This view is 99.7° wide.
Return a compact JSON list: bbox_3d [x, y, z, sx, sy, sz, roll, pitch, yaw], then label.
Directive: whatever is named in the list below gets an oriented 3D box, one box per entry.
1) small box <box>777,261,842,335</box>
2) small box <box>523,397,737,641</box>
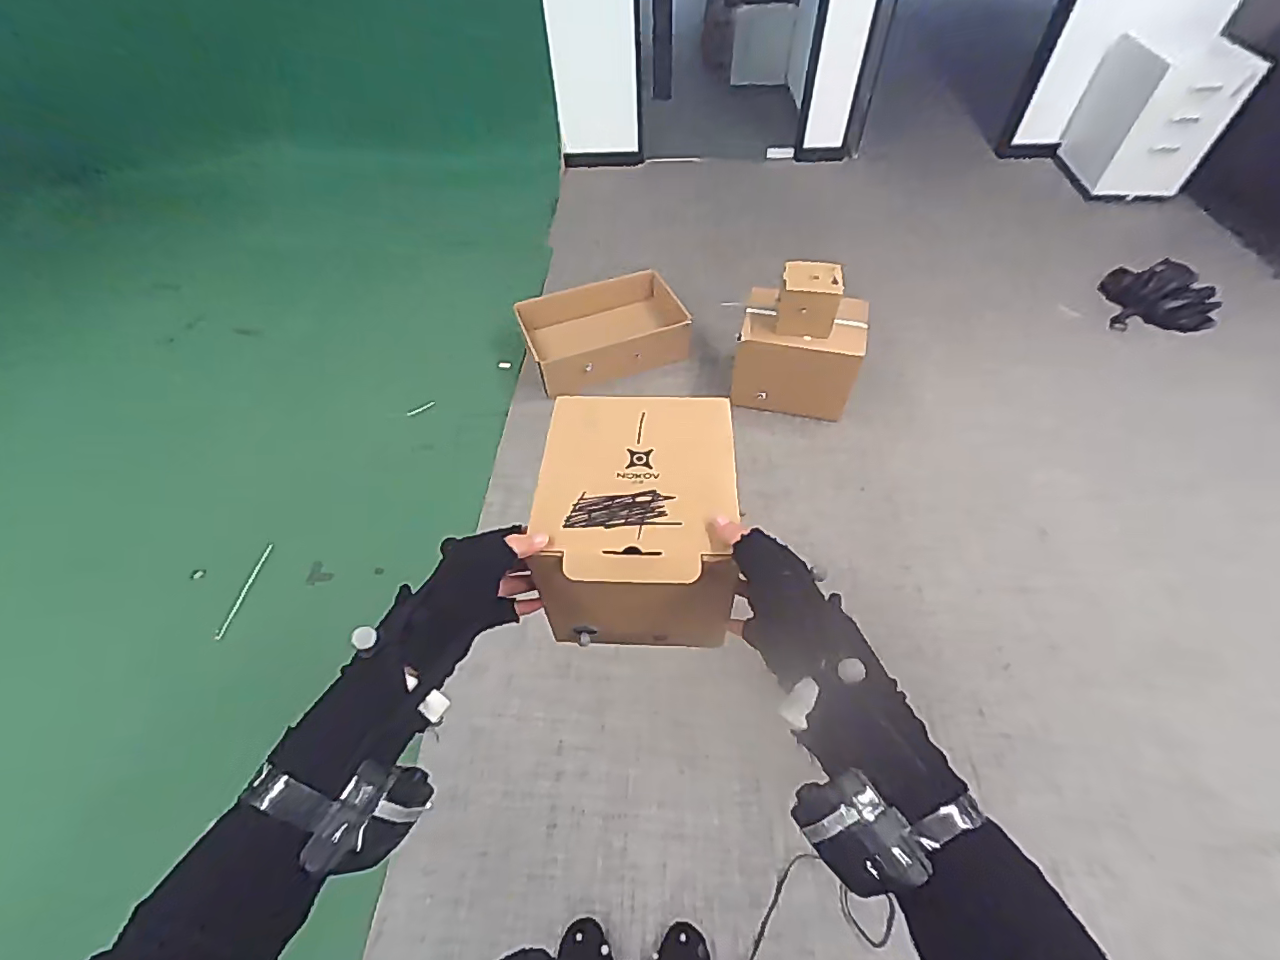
[{"bbox_3d":[0.547,-0.591,1.761,0.179,0.176,0.168,6,54,8],"label":"small box"},{"bbox_3d":[0.000,0.041,0.516,0.168,0.176,0.179,1,50,3],"label":"small box"}]
